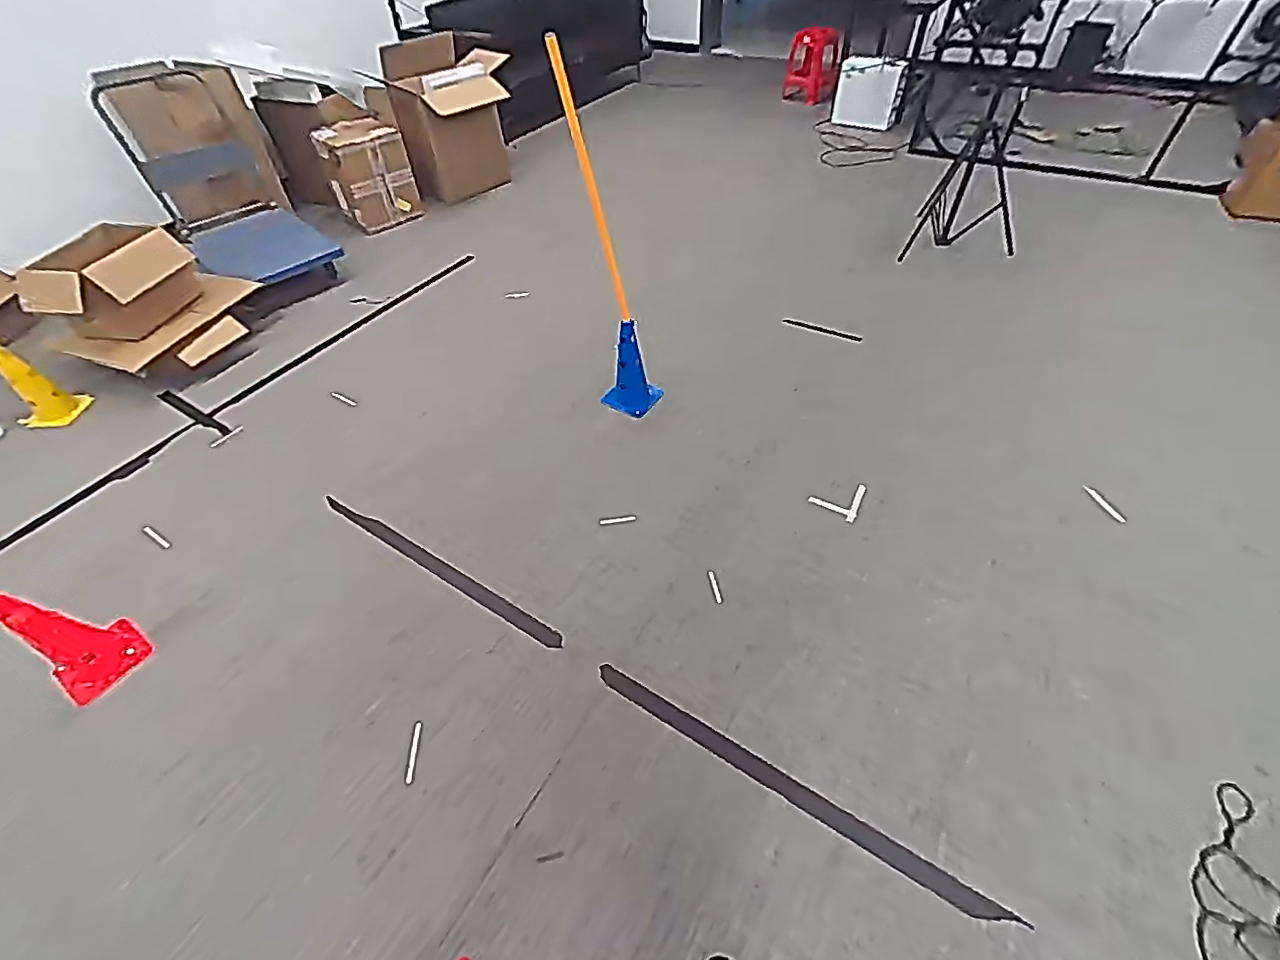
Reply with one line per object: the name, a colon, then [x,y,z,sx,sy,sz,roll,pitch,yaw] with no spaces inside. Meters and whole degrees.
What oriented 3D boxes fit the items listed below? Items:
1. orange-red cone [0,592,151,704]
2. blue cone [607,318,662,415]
orange-red cone: [-1.520,0.391,1.395,0.199,0.360,0.198,26,55,25]
blue cone: [-0.031,-0.455,2.086,0.192,0.380,0.193,27,55,24]
